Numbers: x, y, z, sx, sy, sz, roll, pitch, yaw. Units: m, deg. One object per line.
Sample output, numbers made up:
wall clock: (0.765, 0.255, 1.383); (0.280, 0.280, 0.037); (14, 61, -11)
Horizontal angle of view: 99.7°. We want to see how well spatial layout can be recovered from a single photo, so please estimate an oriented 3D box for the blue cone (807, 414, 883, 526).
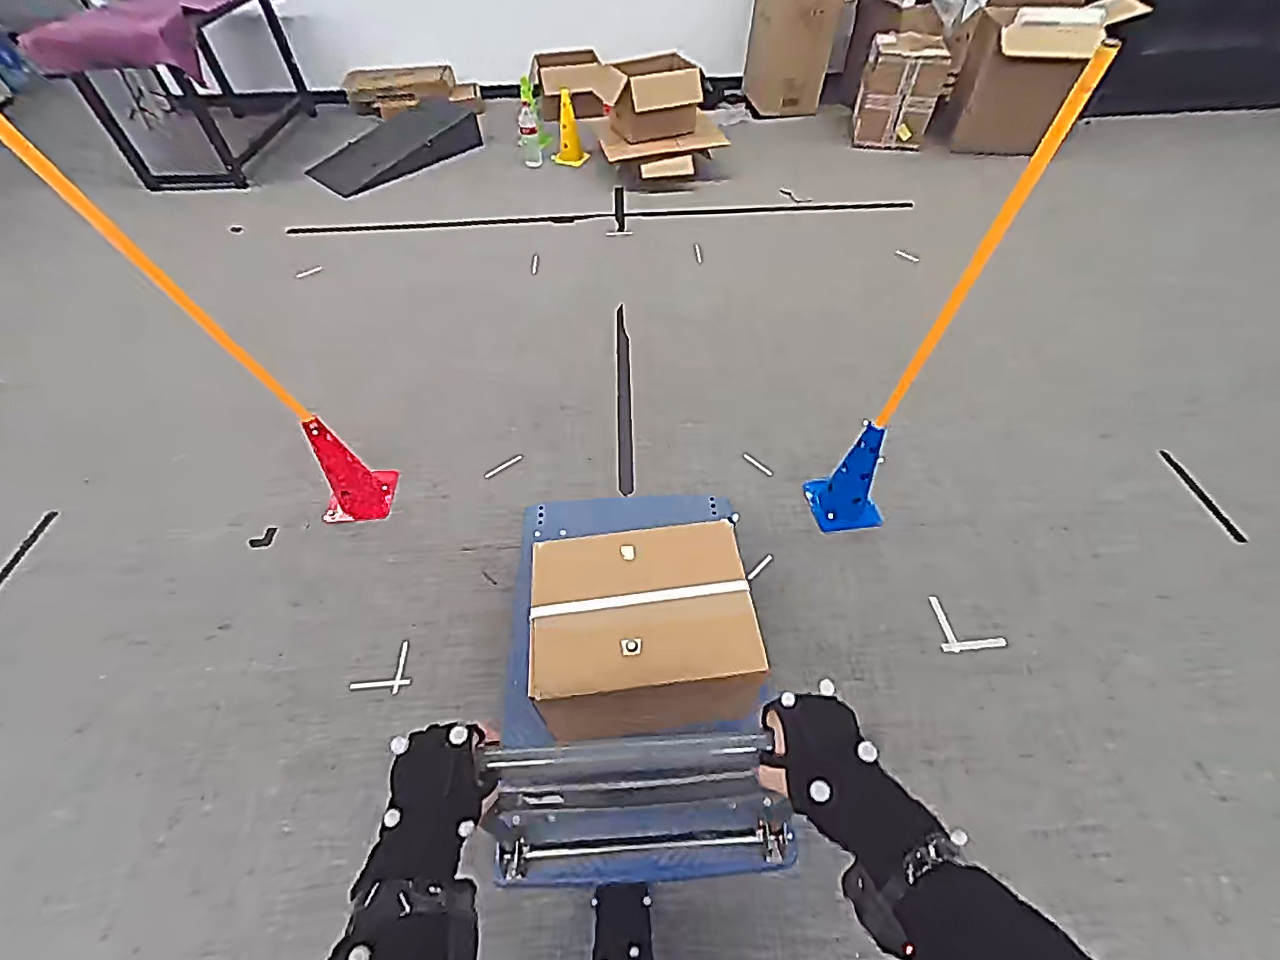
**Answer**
blue cone: (0.642, -0.040, 1.592); (0.193, 0.380, 0.192); (-5, 51, -4)
